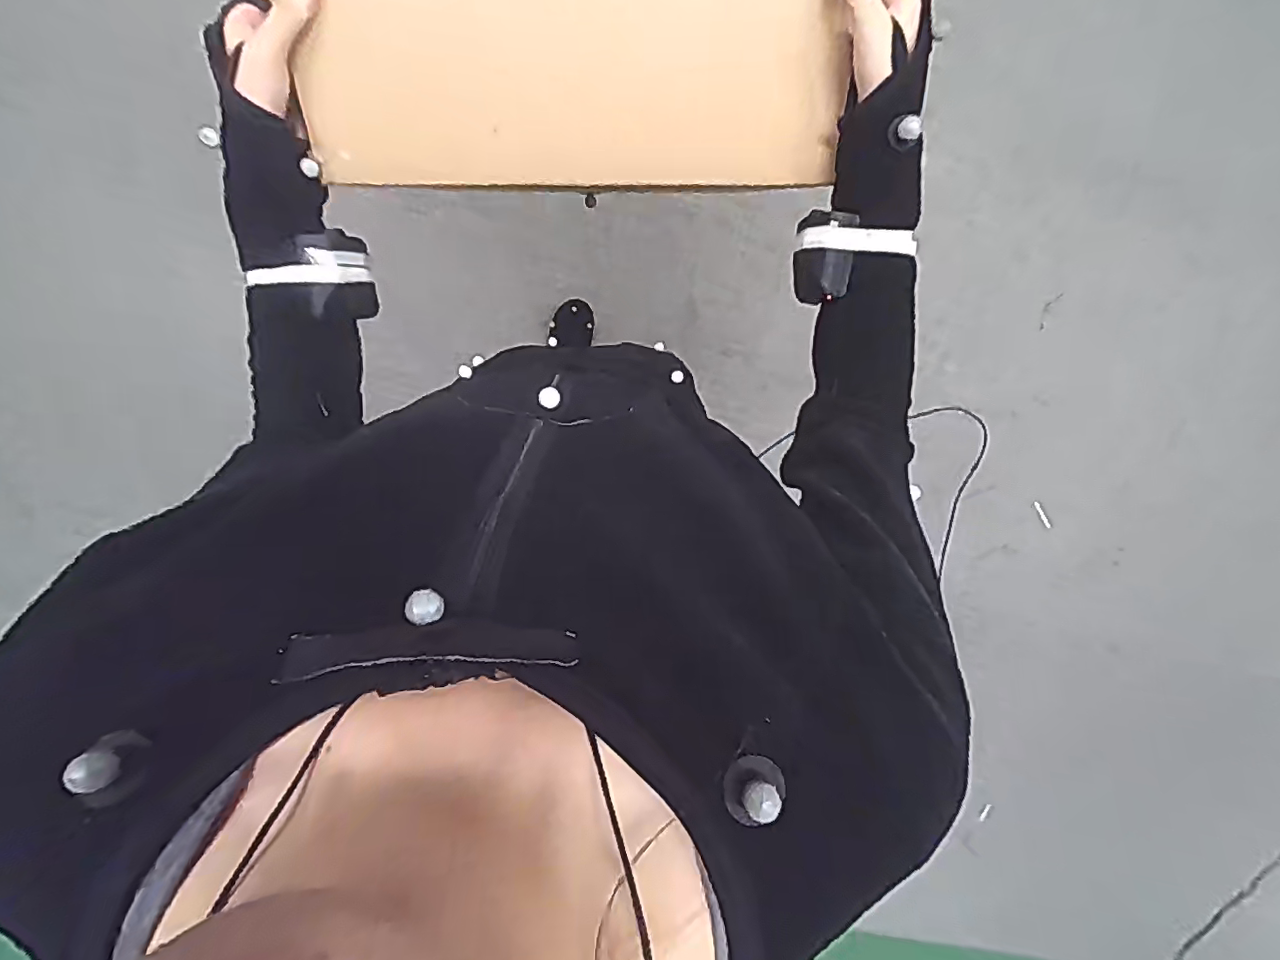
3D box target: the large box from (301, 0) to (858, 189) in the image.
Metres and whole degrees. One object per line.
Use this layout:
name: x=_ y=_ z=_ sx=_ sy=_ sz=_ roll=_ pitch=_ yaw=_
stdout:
large box: x=-0.046 y=-0.446 z=0.500 sx=0.408 sy=0.320 sz=0.320 roll=-1 pitch=117 yaw=-3
